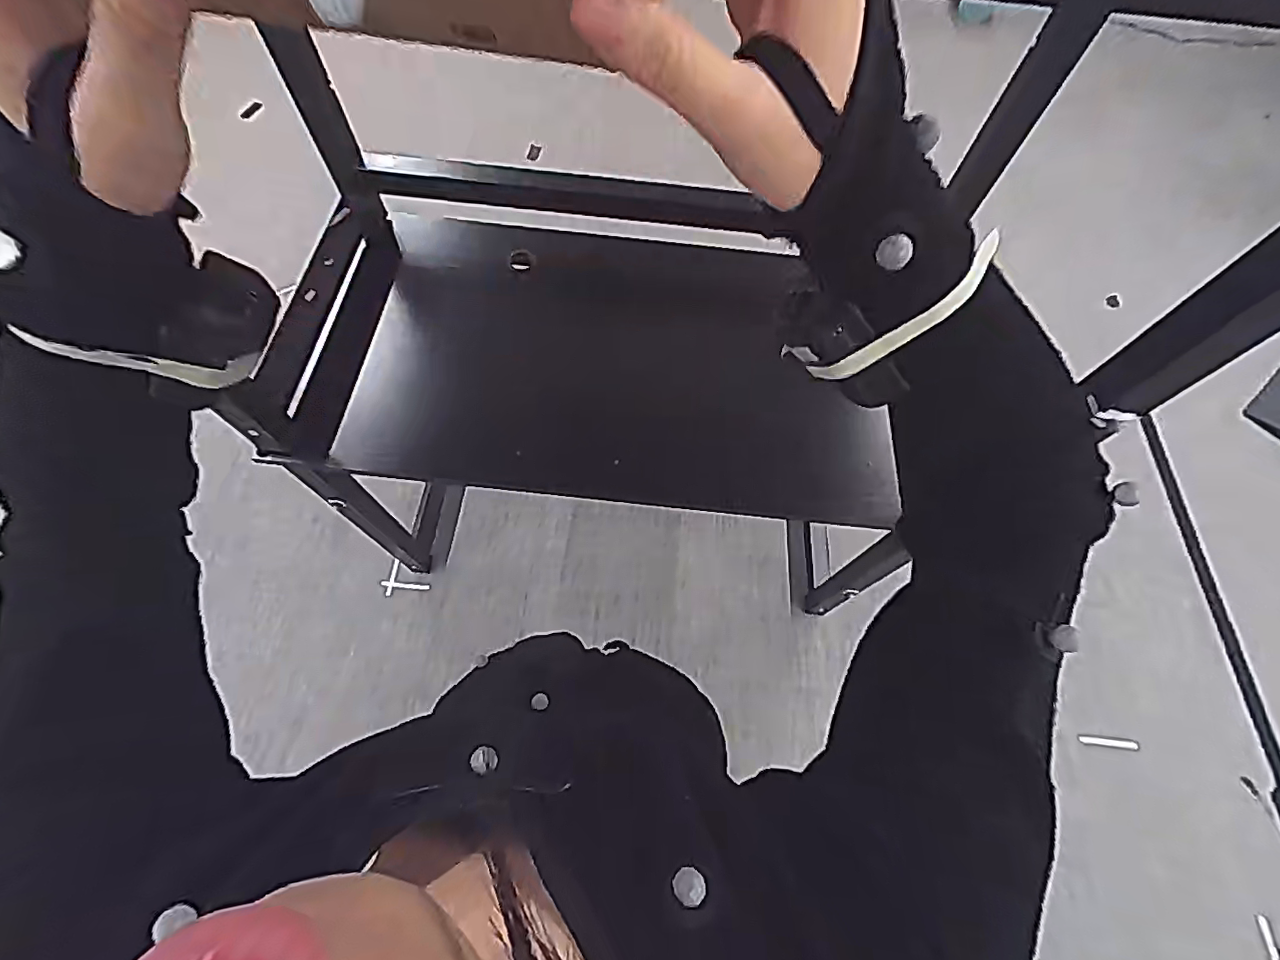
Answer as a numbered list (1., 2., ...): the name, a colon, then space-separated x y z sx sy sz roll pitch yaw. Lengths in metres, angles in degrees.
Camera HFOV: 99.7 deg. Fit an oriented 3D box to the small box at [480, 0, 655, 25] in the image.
1. small box: -0.061 -0.206 0.078 0.168 0.179 0.176 4 24 -6
